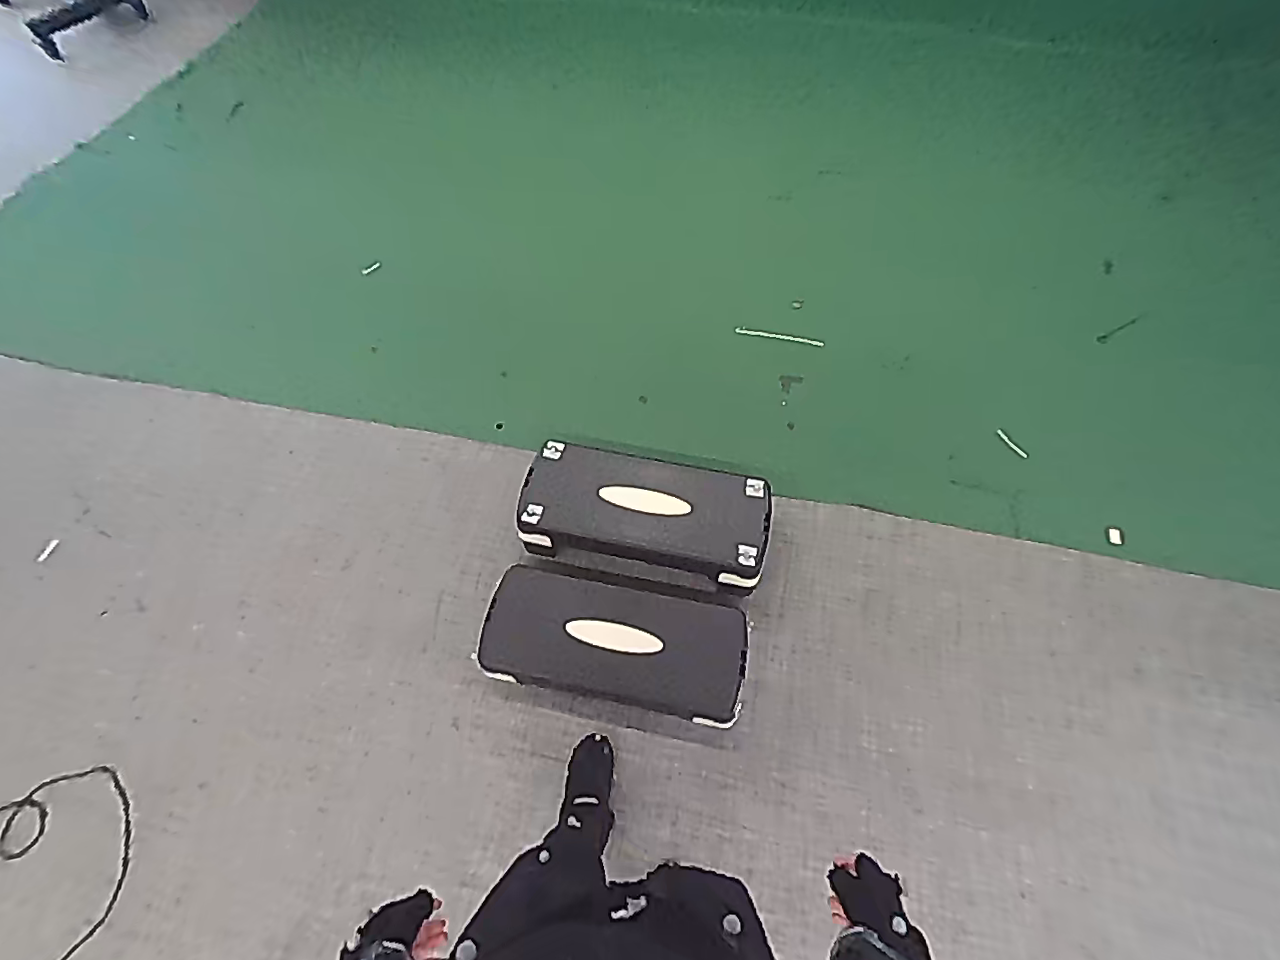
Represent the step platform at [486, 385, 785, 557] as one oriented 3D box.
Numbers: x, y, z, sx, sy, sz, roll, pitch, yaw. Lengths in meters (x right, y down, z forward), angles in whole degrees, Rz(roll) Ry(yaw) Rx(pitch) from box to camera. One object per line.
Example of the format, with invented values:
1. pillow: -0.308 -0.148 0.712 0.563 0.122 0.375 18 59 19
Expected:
1. step platform: -0.008 -0.021 1.332 0.684 0.204 0.286 10 61 7
